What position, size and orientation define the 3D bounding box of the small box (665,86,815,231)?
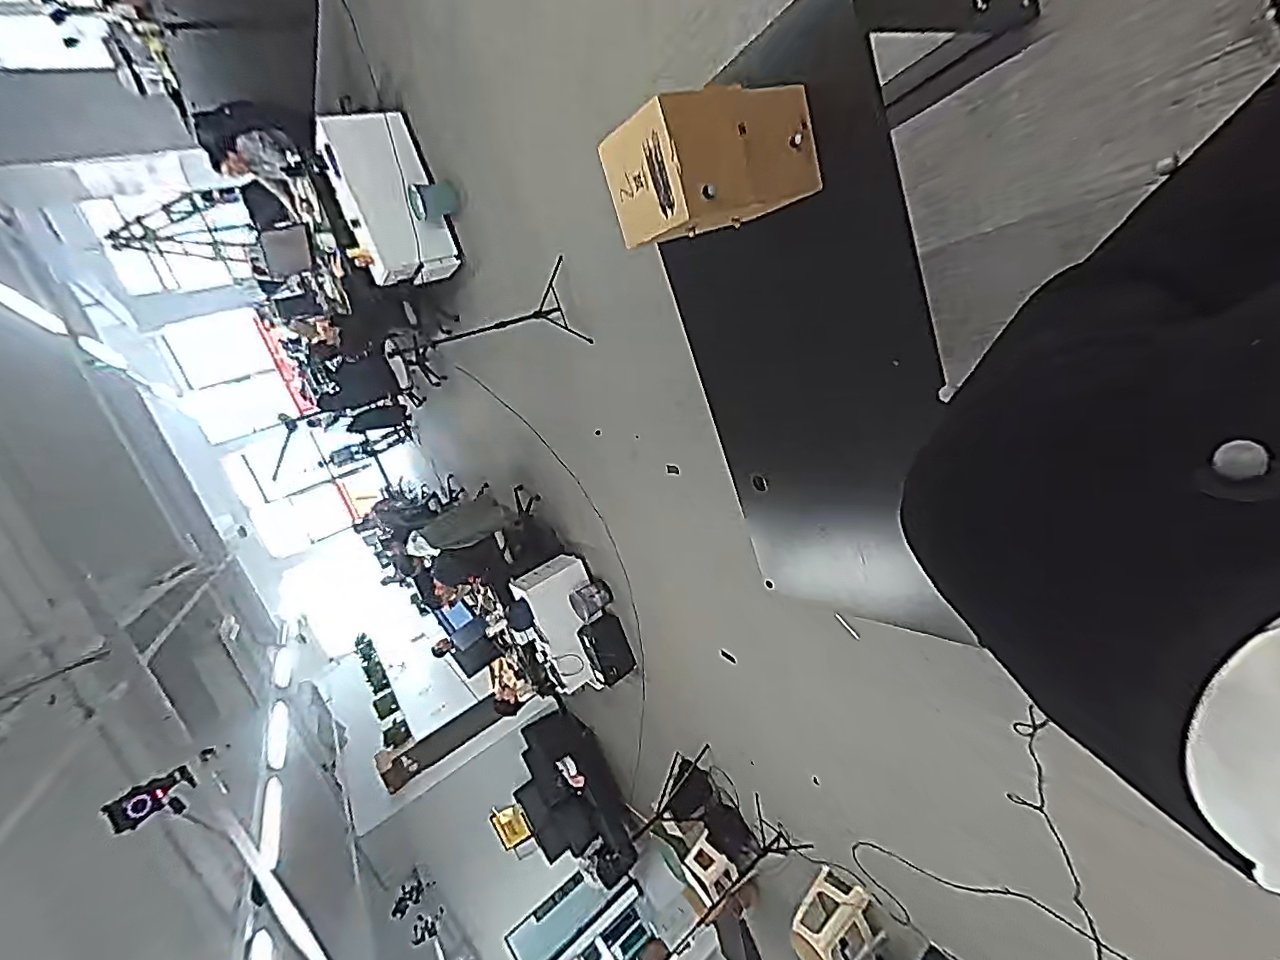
[{"bbox_3d":[0.177,-0.560,0.952,0.179,0.176,0.168,10,123,55],"label":"small box"}]
